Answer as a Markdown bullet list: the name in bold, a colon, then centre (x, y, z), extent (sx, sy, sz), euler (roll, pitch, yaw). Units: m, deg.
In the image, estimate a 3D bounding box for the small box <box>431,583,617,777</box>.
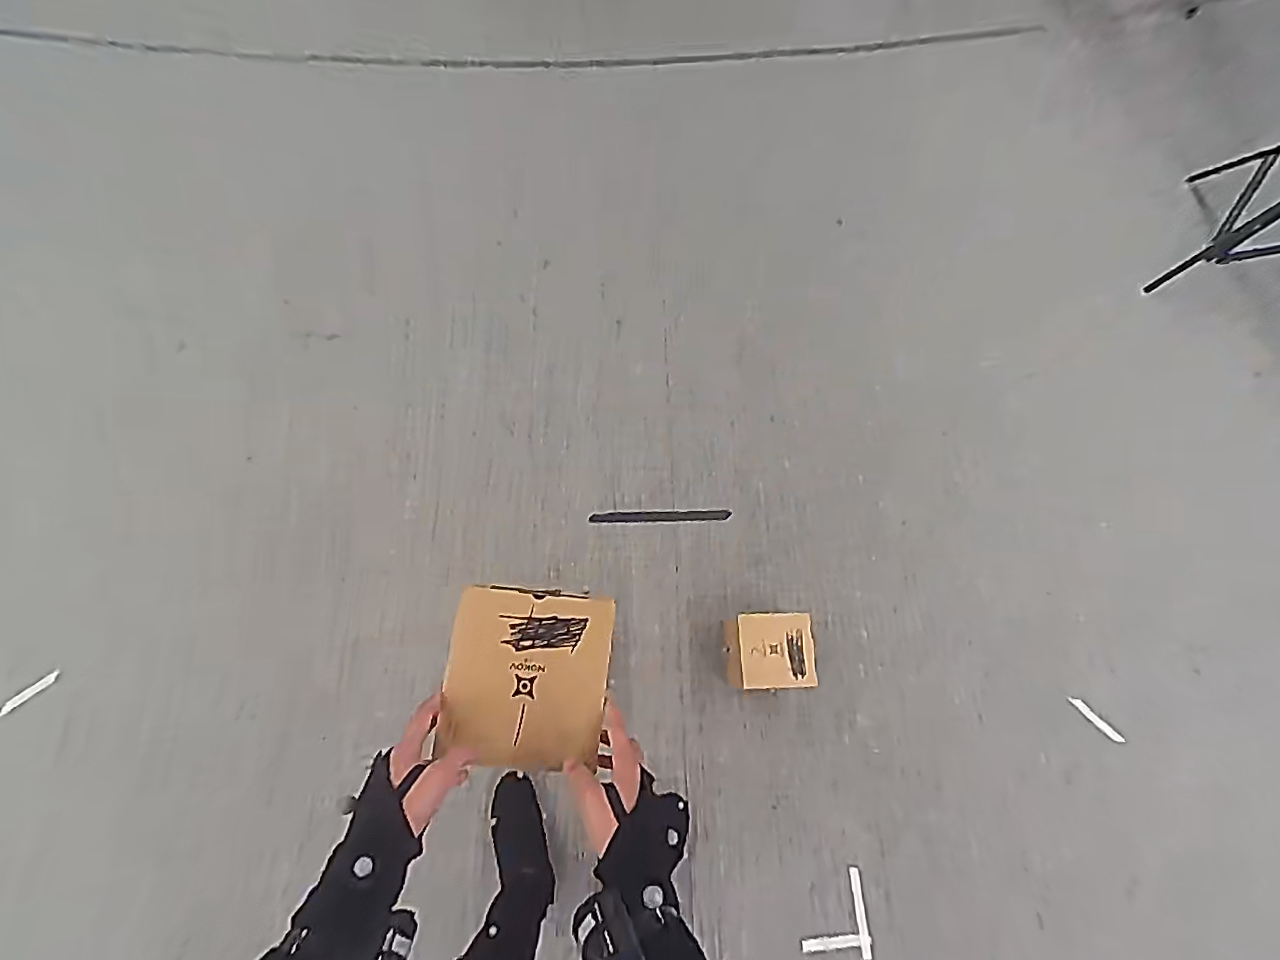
- **small box**: centre (-0.124, 0.218, 0.628), extent (0.168, 0.176, 0.179), euler (8, 78, -5)
